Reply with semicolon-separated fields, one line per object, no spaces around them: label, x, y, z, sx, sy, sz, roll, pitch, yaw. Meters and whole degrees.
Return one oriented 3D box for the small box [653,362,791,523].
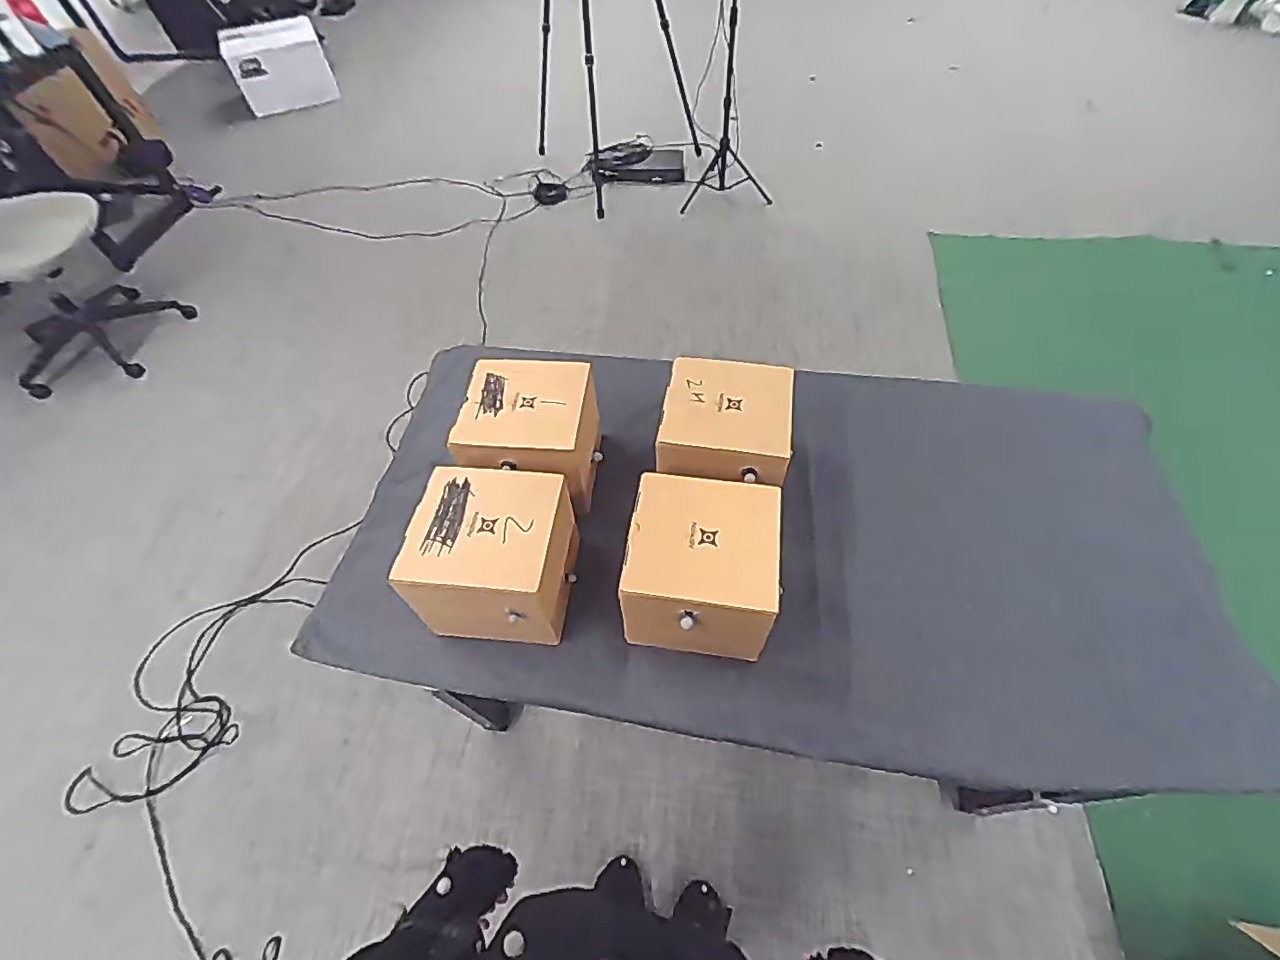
small box;0.120;-0.051;0.808;0.179;0.176;0.168;7;56;9
